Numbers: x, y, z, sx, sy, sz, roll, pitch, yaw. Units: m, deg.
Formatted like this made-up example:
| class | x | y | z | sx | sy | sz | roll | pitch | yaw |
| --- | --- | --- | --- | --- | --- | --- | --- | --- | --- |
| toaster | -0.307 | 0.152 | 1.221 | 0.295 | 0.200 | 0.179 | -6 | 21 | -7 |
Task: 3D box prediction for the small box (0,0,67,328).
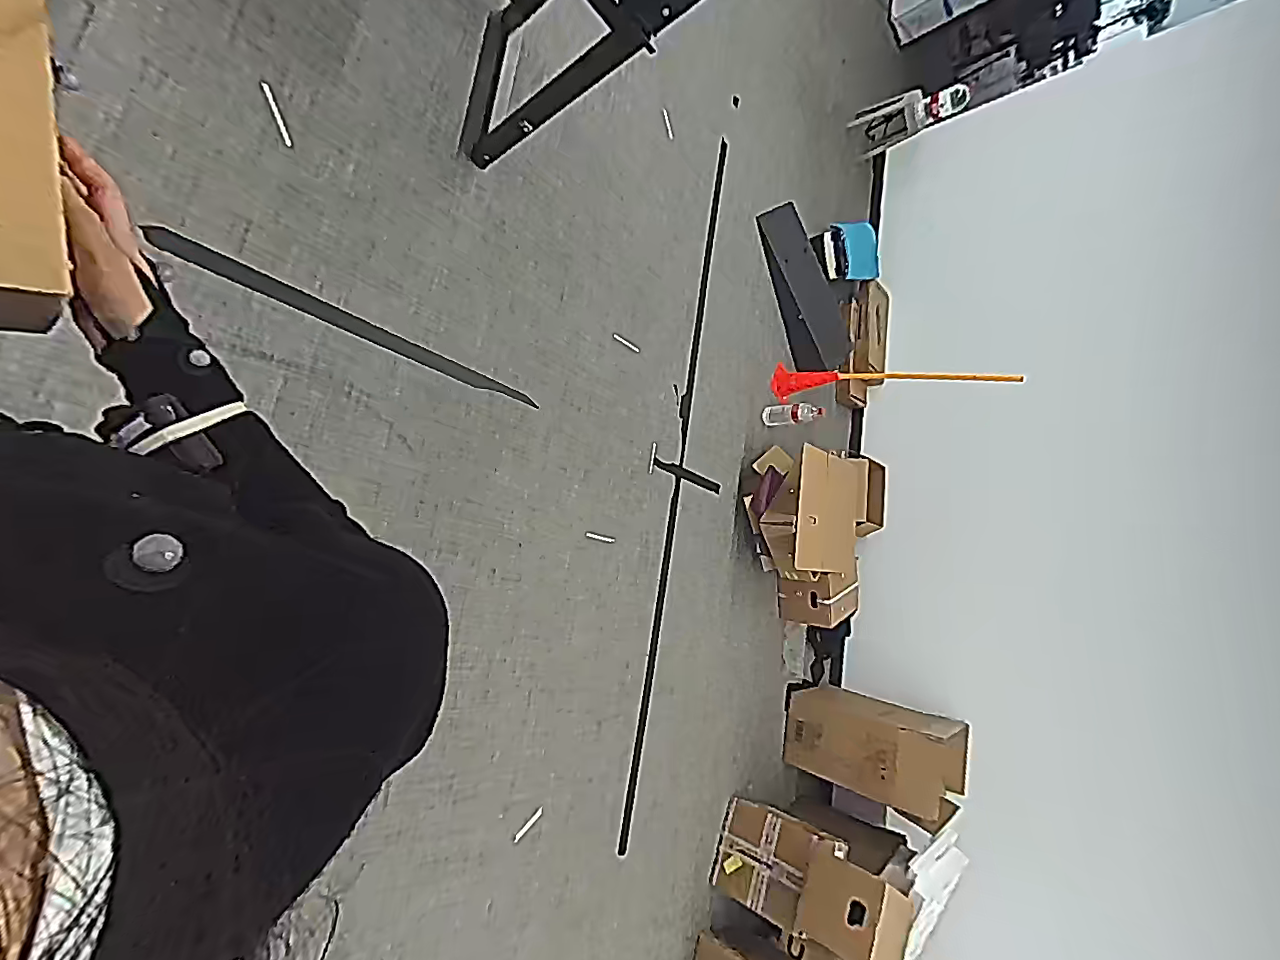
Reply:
| class | x | y | z | sx | sy | sz | roll | pitch | yaw |
| --- | --- | --- | --- | --- | --- | --- | --- | --- | --- |
| small box | -0.431 | -0.187 | 0.285 | 0.168 | 0.176 | 0.179 | -6 | 96 | -50 |
